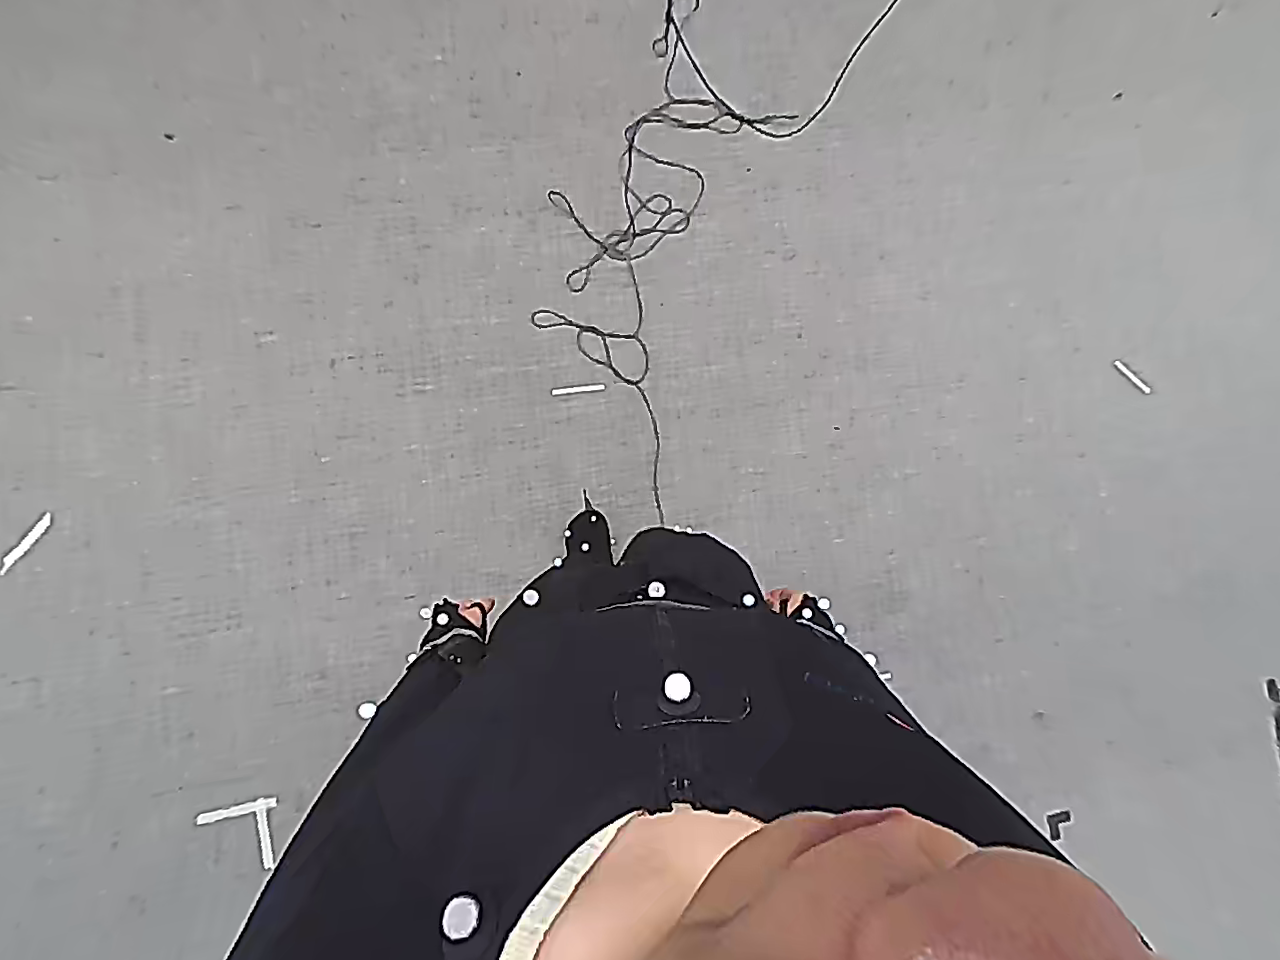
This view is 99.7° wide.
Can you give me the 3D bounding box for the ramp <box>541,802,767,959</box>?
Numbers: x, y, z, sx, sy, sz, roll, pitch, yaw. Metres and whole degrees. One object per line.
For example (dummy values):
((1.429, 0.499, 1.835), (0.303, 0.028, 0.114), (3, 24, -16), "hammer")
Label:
((0.083, 1.309, 1.194), (0.509, 0.206, 0.991), (-11, 85, -5), "ramp")
